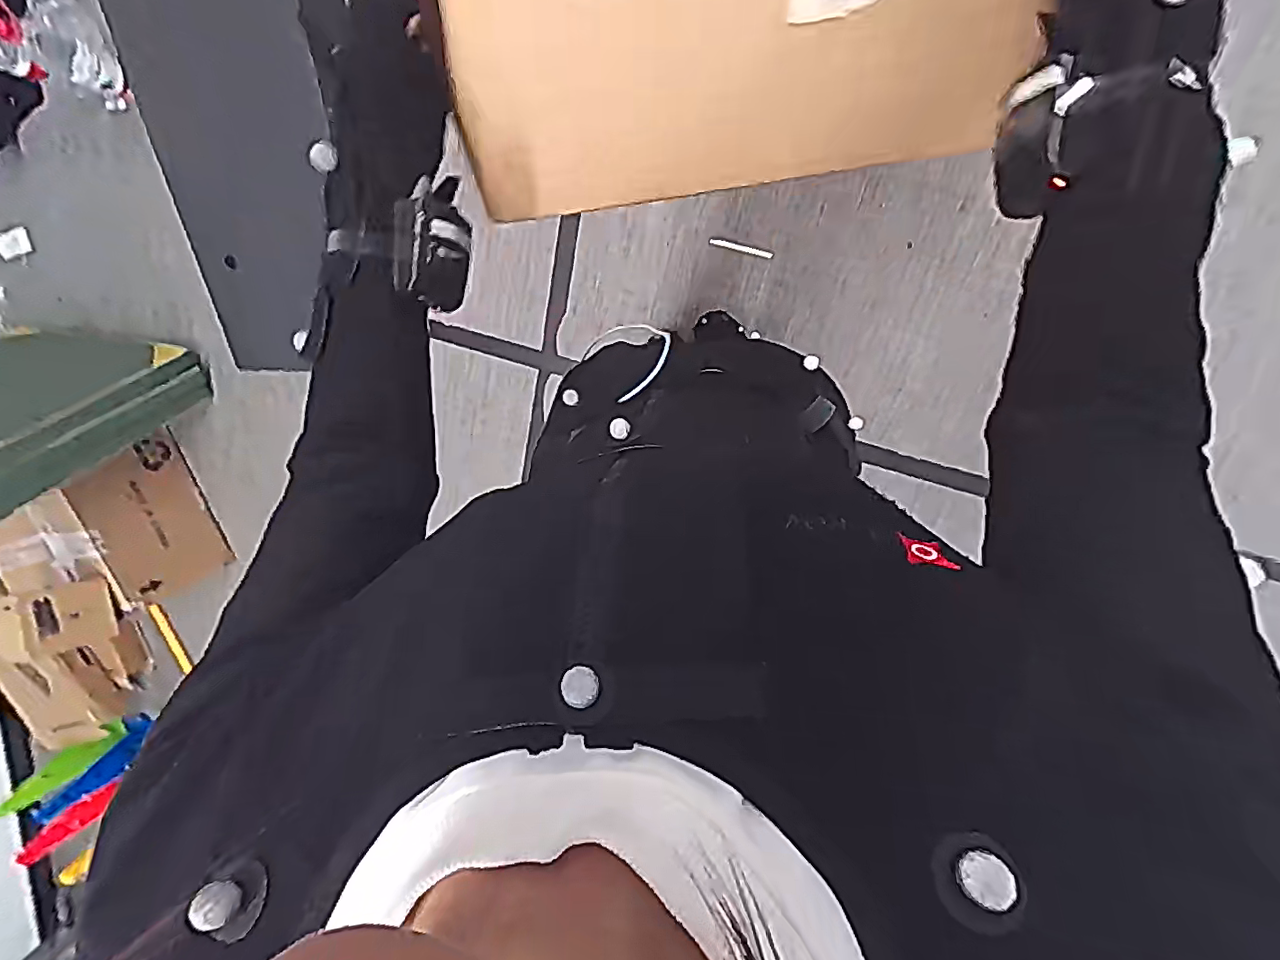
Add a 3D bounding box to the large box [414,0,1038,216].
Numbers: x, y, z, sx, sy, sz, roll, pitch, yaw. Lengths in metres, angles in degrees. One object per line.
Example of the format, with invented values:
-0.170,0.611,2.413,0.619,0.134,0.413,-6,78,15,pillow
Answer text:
0.052,-0.449,0.430,0.408,0.320,0.320,-4,131,12,large box
